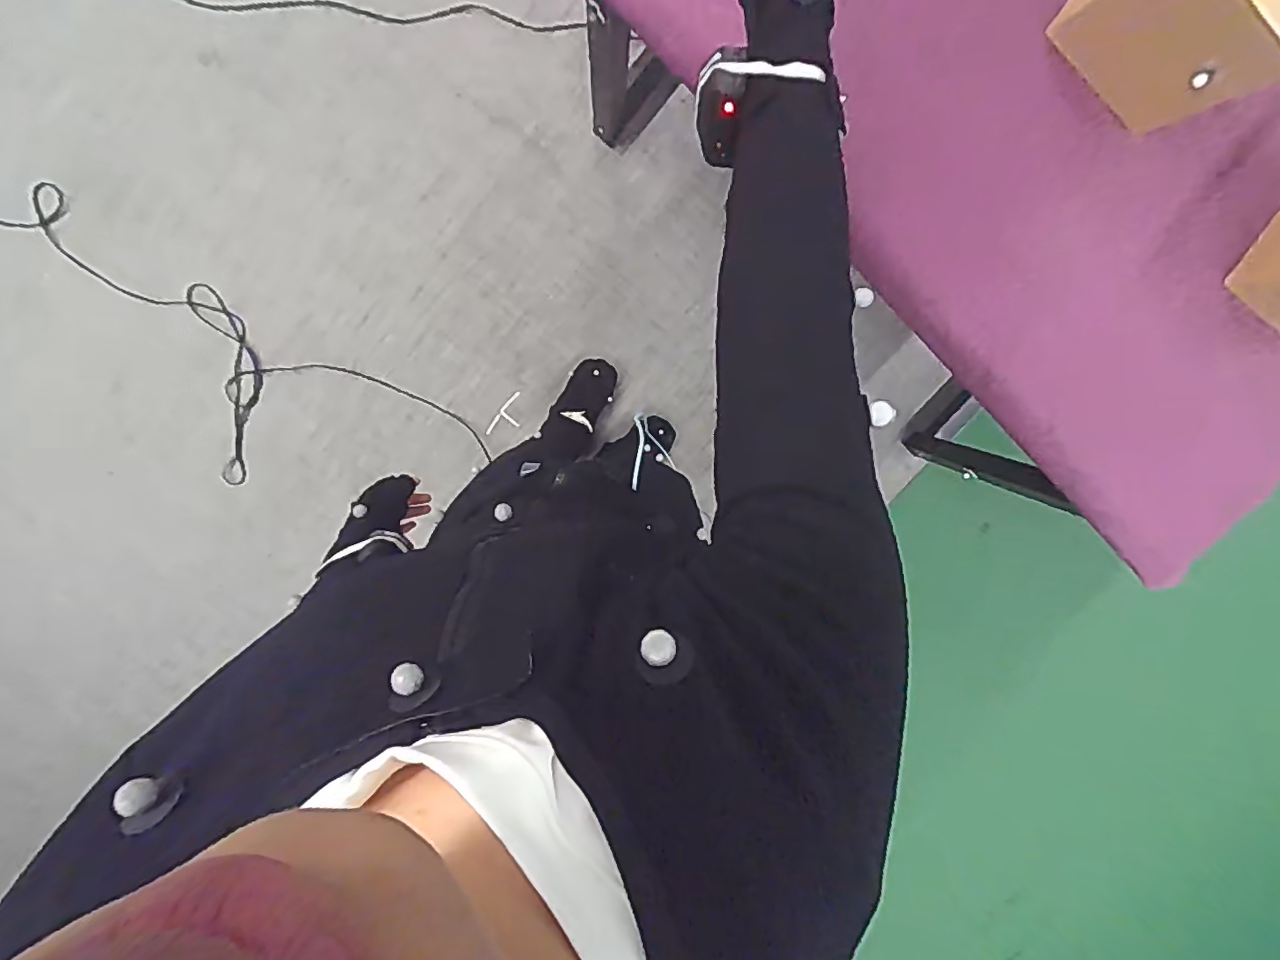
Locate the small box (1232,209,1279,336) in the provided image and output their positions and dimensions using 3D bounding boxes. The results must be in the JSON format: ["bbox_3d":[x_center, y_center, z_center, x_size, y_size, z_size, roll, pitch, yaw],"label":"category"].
[{"bbox_3d":[0.881,-0.268,0.638,0.168,0.176,0.179,30,100,-10],"label":"small box"}]
